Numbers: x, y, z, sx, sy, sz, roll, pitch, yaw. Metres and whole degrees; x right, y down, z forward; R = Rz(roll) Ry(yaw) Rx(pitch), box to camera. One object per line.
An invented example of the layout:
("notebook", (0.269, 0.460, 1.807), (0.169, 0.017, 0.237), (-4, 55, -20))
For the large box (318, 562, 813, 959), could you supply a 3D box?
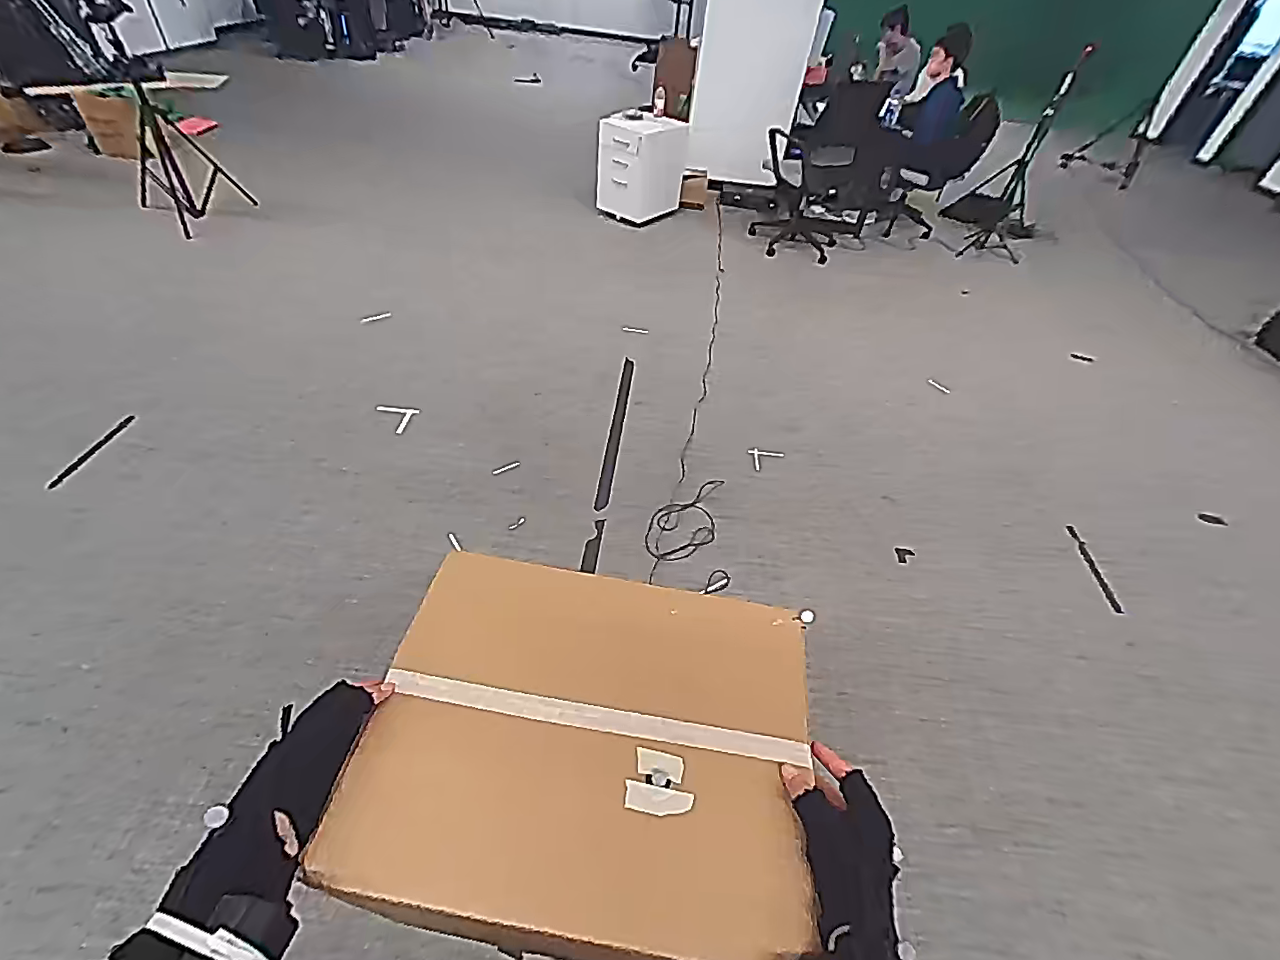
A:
("large box", (-0.056, 0.335, 0.629), (0.408, 0.320, 0.320), (10, 47, 2))
